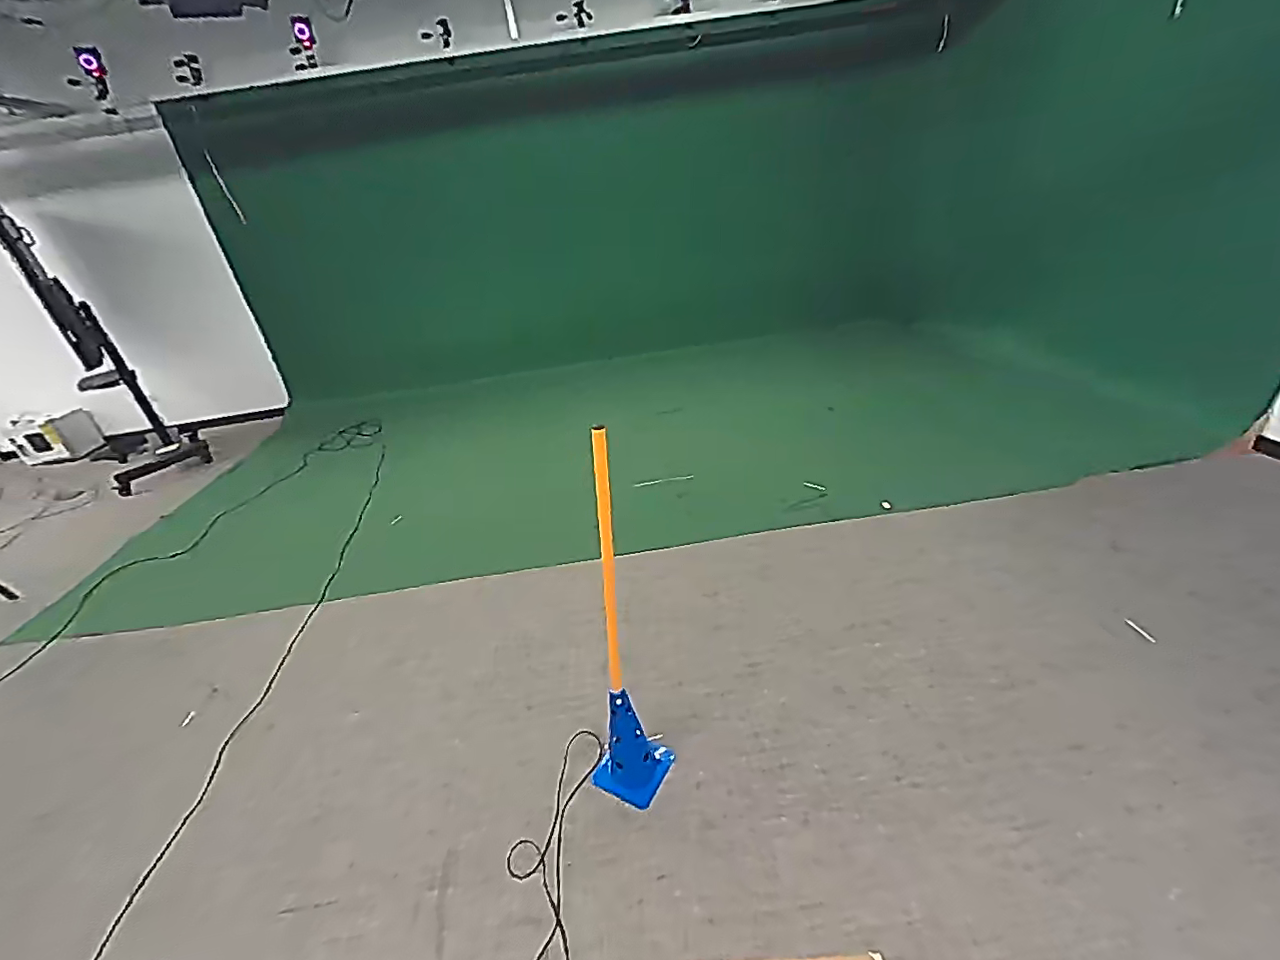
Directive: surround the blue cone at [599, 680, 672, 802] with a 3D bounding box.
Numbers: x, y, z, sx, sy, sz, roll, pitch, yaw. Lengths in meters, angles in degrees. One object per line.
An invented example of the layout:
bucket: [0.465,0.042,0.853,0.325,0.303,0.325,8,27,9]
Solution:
blue cone: [-0.034,0.722,1.563,0.192,0.380,0.193,9,32,27]
